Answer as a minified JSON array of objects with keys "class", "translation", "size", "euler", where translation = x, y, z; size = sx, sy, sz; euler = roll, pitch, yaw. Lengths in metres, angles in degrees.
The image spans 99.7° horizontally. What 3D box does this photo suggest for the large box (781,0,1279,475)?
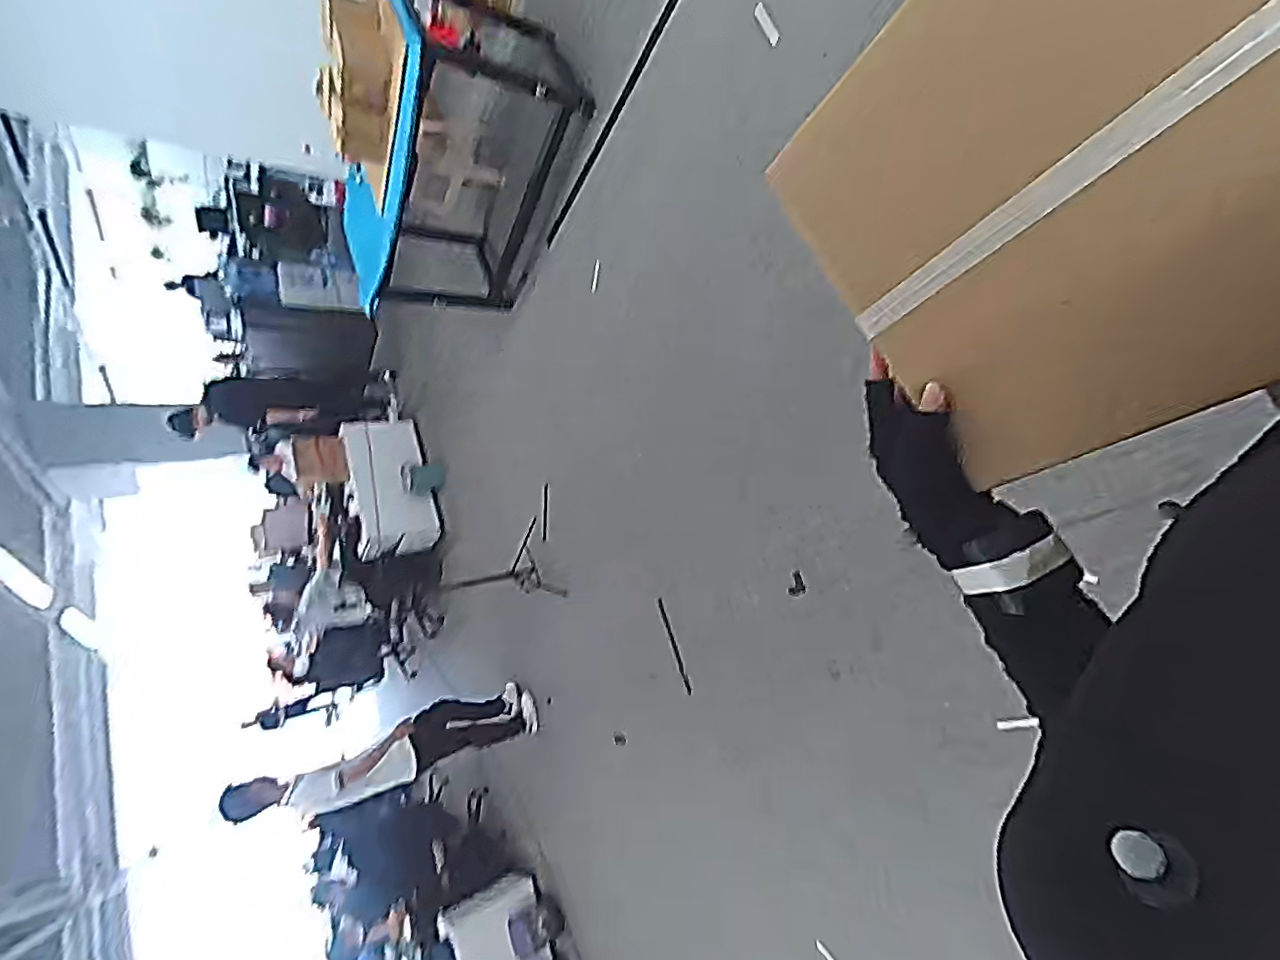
[{"class":"large box","translation":[0.394,-0.257,0.387],"size":[0.320,0.320,0.408],"euler":[59,141,5]}]
